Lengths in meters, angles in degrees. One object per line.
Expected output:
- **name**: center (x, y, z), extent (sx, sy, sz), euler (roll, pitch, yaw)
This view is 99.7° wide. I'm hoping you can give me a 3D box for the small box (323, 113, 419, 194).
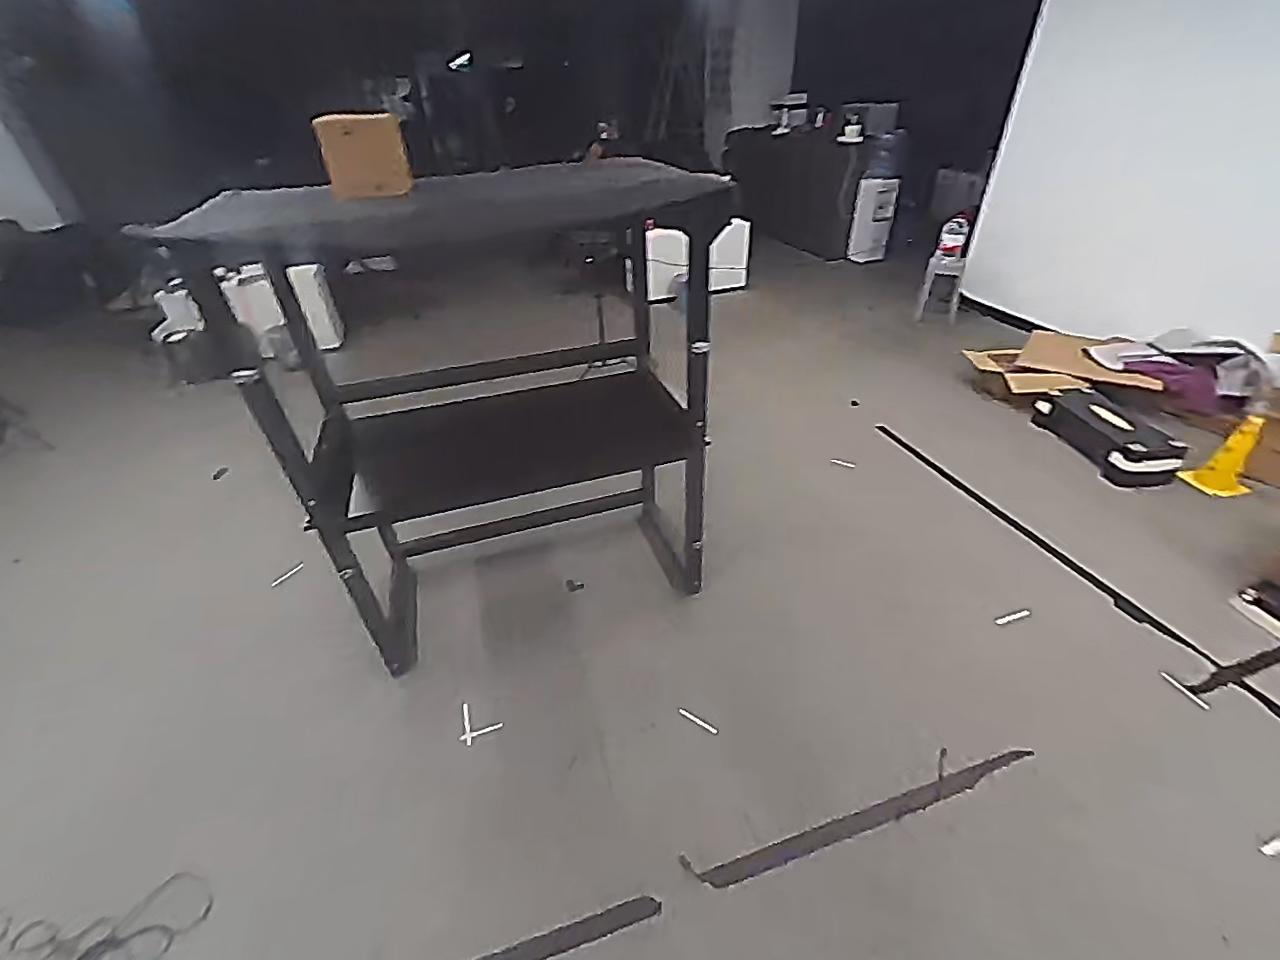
- **small box**: center (-0.679, -0.840, 1.390), extent (0.168, 0.176, 0.179), euler (-9, 37, -9)
